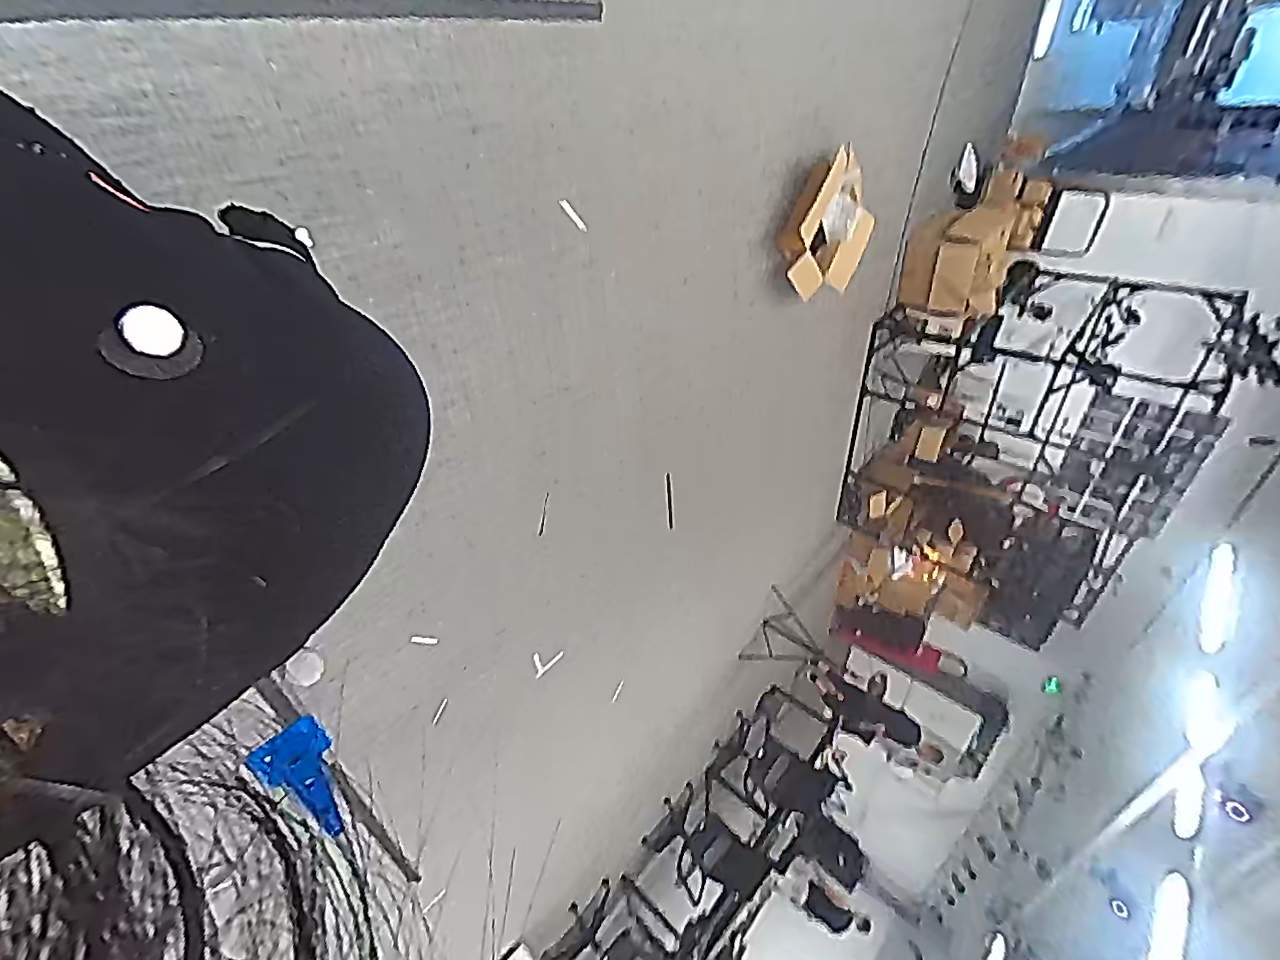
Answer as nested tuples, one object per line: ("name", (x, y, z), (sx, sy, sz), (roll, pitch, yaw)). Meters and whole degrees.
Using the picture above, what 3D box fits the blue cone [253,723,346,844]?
("blue cone", (-0.979, 0.945, 1.630), (0.193, 0.380, 0.192), (-36, 137, -34))
